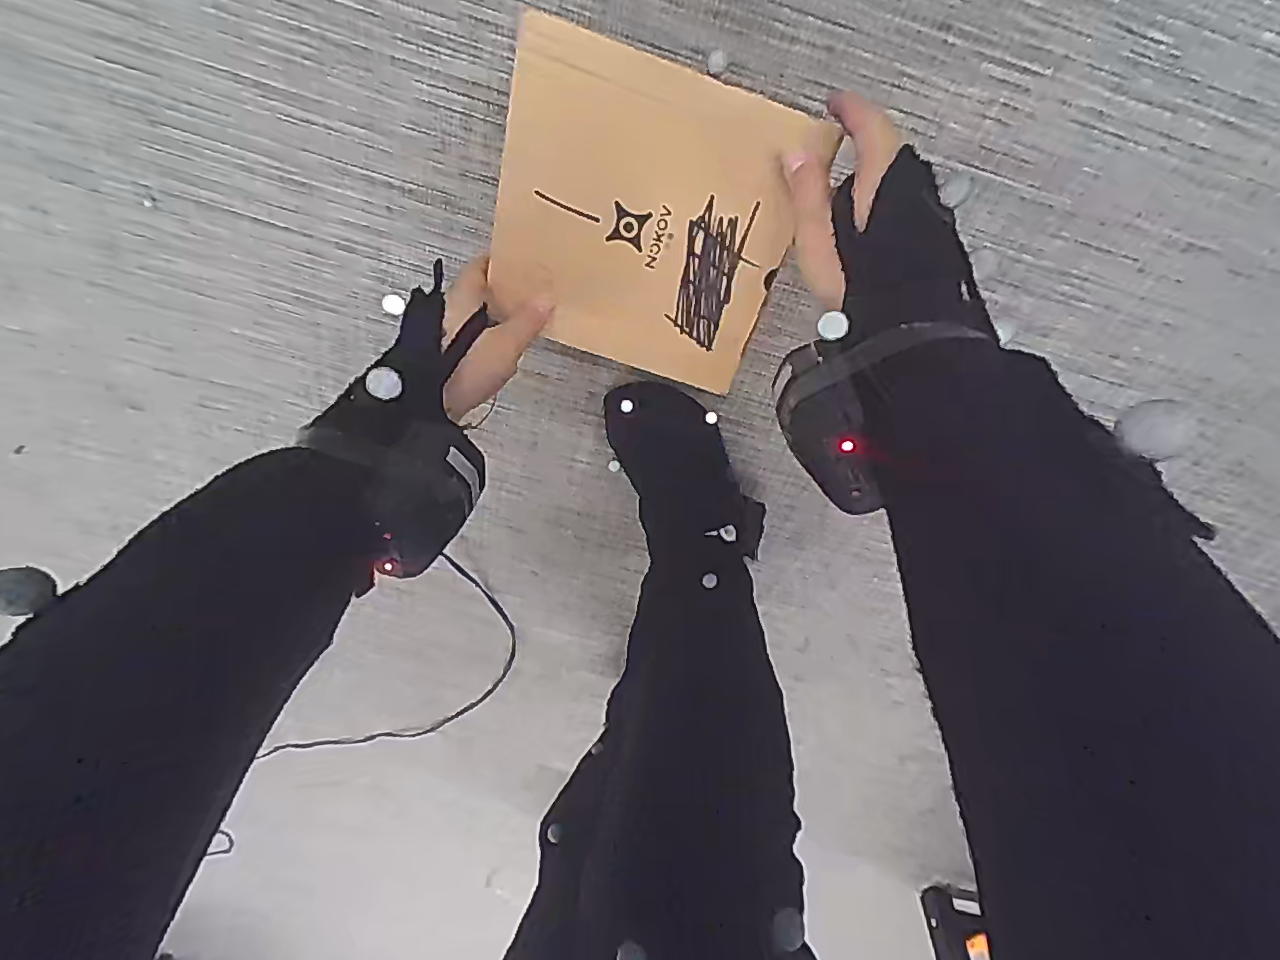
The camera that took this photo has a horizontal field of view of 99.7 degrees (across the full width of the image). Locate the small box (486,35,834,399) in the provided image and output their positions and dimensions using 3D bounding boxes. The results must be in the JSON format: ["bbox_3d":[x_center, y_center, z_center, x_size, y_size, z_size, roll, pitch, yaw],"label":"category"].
[{"bbox_3d":[0.009,-0.189,0.394,0.179,0.176,0.168,18,125,-5],"label":"small box"}]
